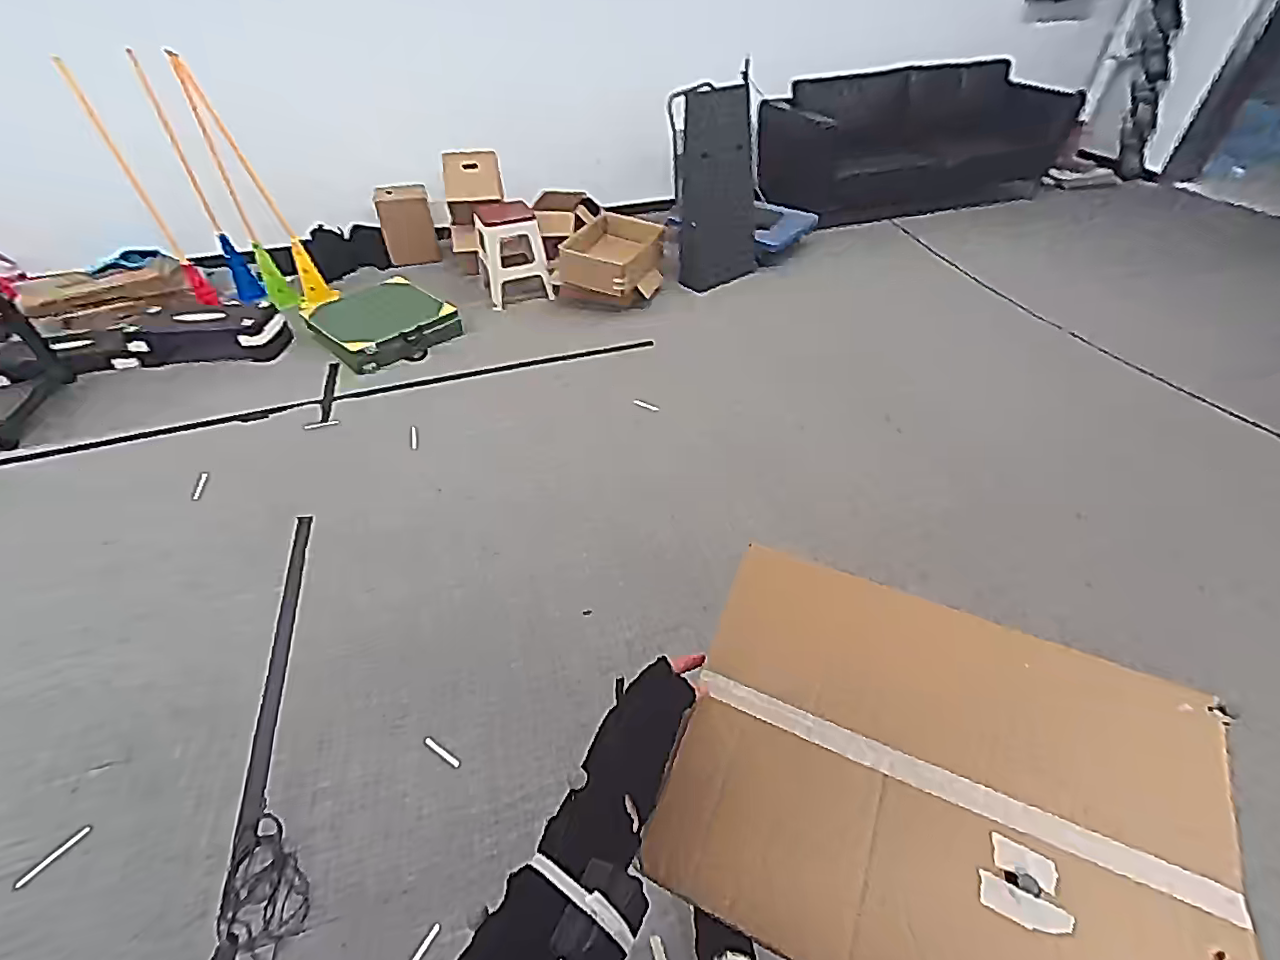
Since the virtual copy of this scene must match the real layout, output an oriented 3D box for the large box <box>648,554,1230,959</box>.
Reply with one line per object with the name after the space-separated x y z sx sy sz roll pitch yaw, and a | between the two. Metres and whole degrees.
0.256 0.335 0.575 0.408 0.320 0.320 18 59 18 | large box
